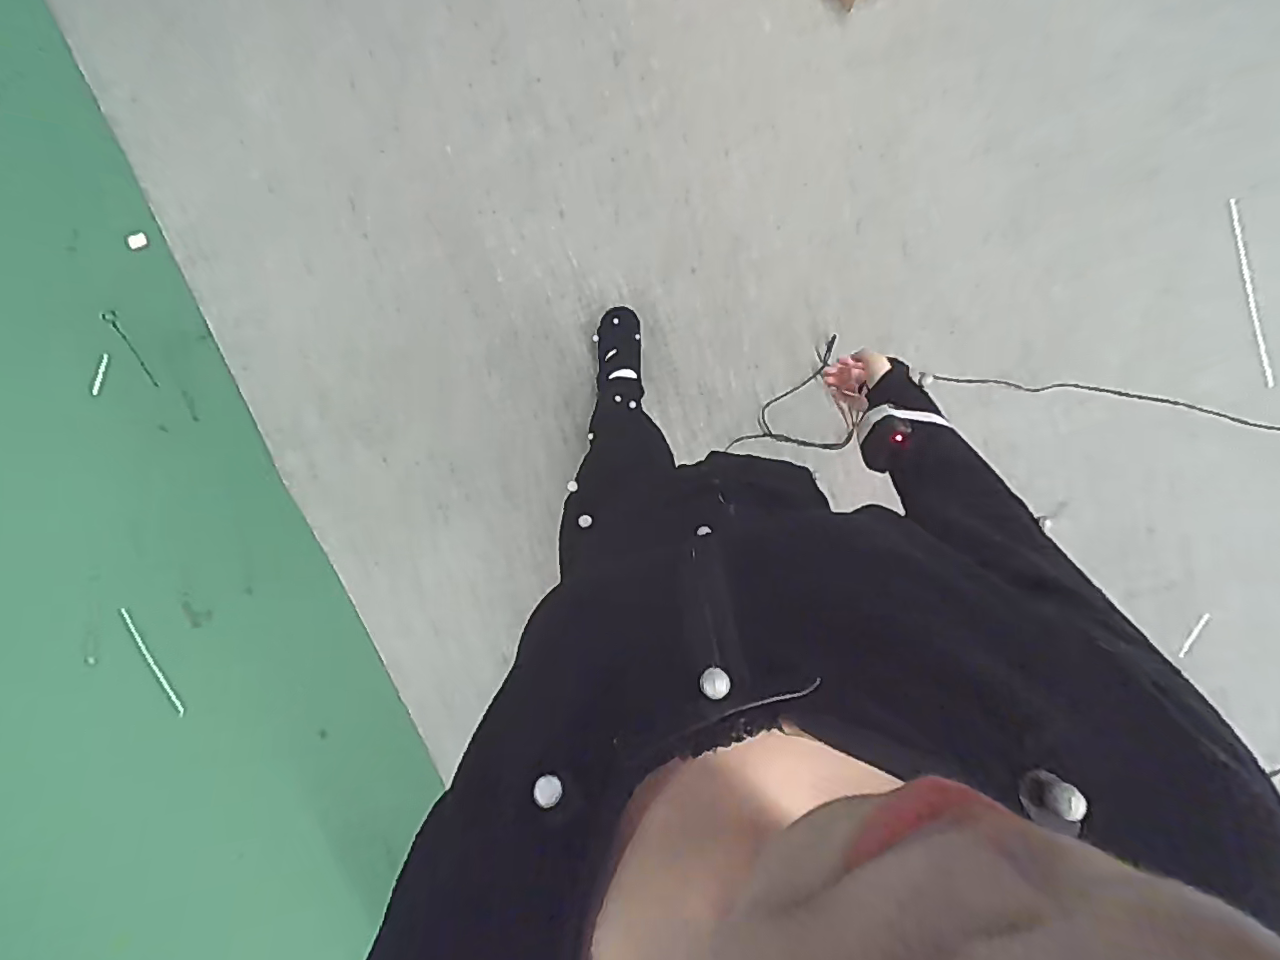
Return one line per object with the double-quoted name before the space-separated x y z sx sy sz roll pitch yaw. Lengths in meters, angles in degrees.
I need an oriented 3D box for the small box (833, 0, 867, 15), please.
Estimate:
"small box" 0.490 -1.189 1.176 0.168 0.176 0.179 -39 97 8
